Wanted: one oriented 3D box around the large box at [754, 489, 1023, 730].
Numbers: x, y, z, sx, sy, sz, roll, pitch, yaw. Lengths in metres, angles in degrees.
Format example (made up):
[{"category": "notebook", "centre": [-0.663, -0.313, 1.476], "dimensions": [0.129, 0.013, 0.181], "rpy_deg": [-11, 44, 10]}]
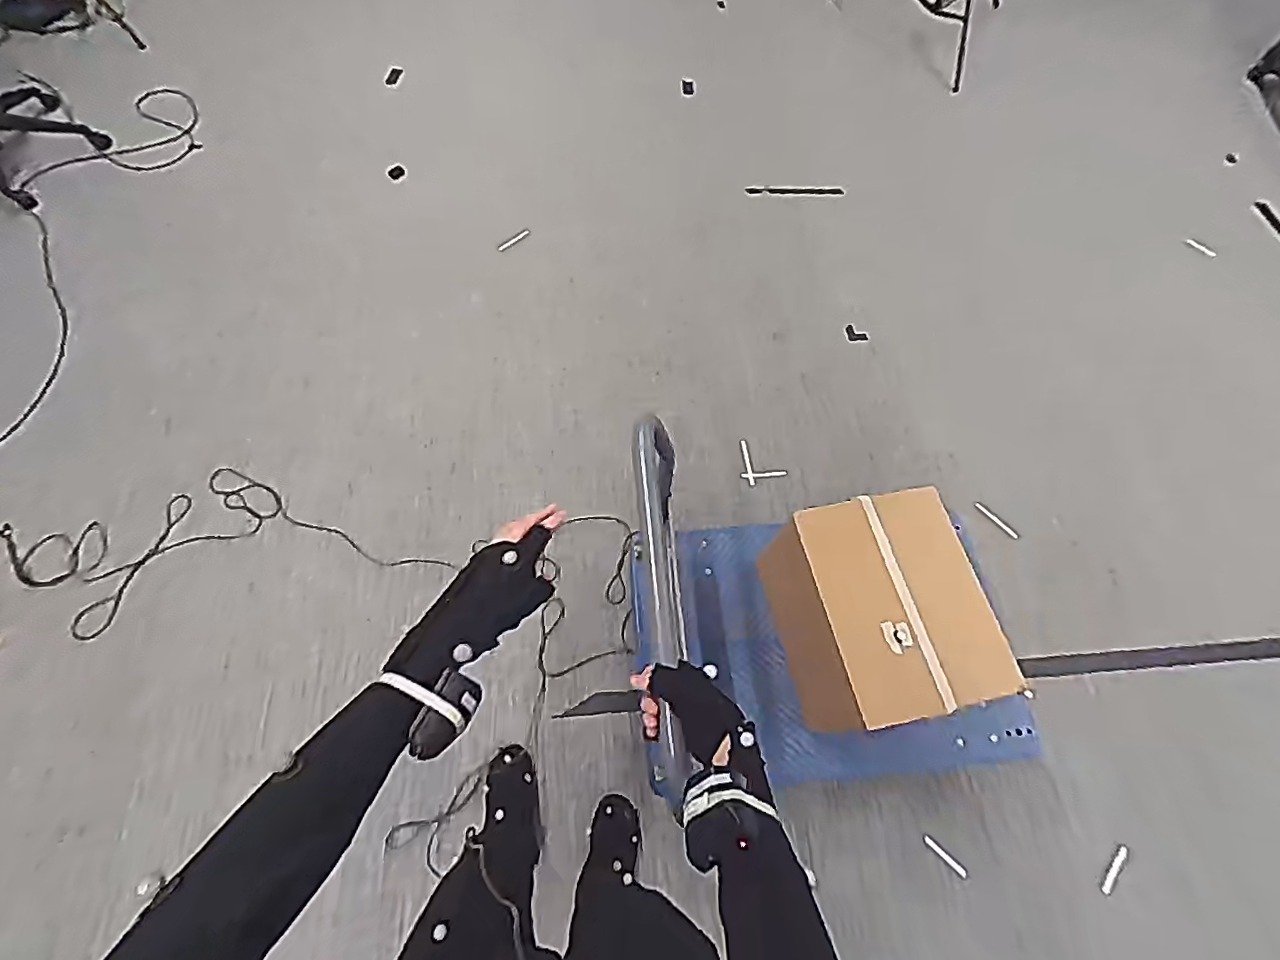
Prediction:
[{"category": "large box", "centre": [0.479, 0.281, 1.149], "dimensions": [0.320, 0.320, 0.408], "rpy_deg": [-11, 67, -7]}]
